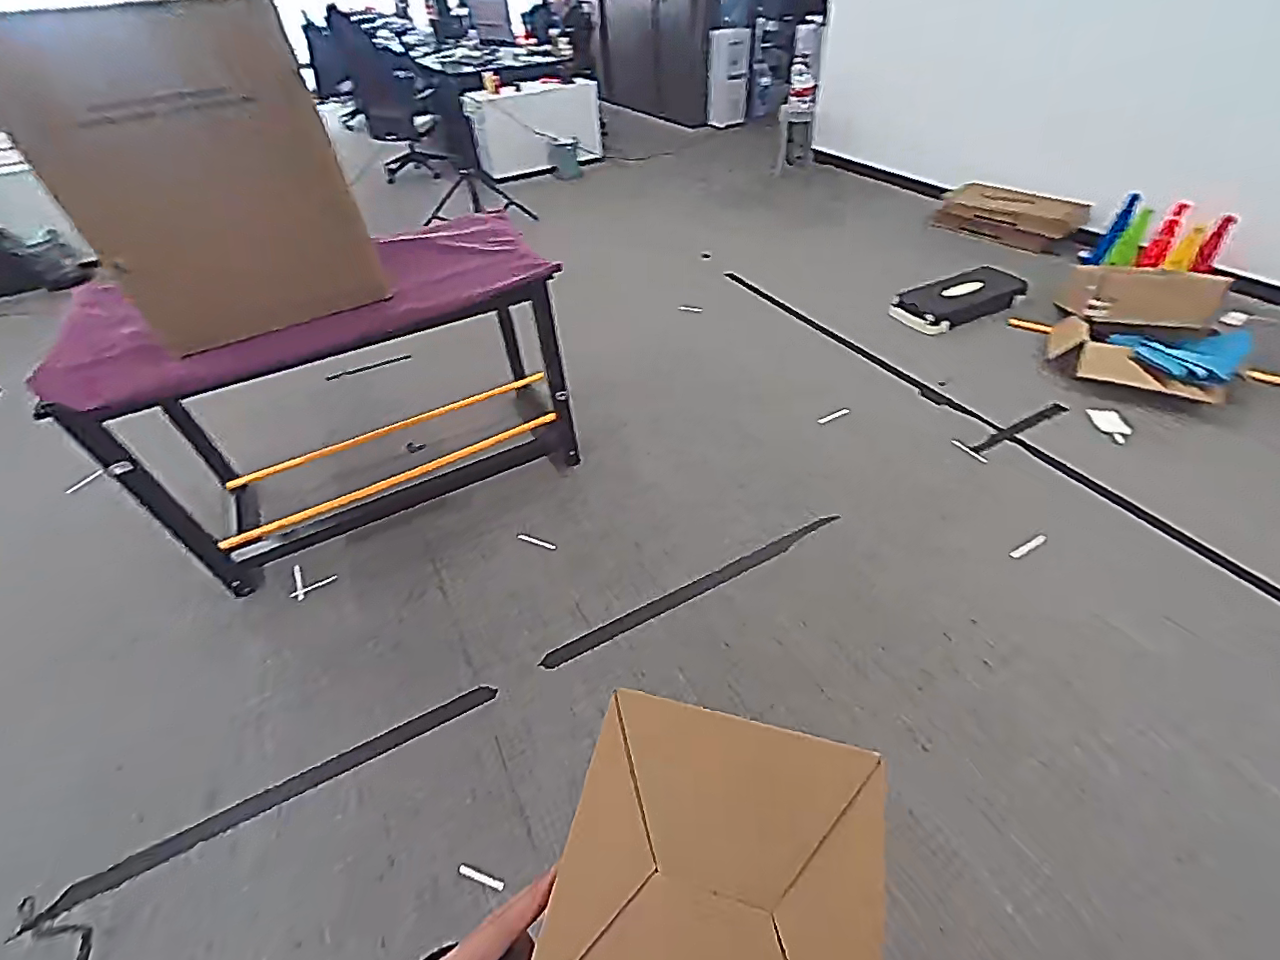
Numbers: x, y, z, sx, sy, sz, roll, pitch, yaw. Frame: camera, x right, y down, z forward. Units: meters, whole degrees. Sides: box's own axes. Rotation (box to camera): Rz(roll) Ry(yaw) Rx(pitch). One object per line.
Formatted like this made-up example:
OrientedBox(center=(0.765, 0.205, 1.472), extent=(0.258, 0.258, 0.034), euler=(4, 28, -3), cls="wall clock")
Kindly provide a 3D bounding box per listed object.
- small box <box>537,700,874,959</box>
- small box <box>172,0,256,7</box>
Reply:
OrientedBox(center=(0.047, 0.268, 0.347), extent=(0.168, 0.176, 0.179), euler=(7, 54, 16), cls="small box")
OrientedBox(center=(-0.936, -1.114, 1.138), extent=(0.168, 0.176, 0.179), euler=(-24, 48, -18), cls="small box")
